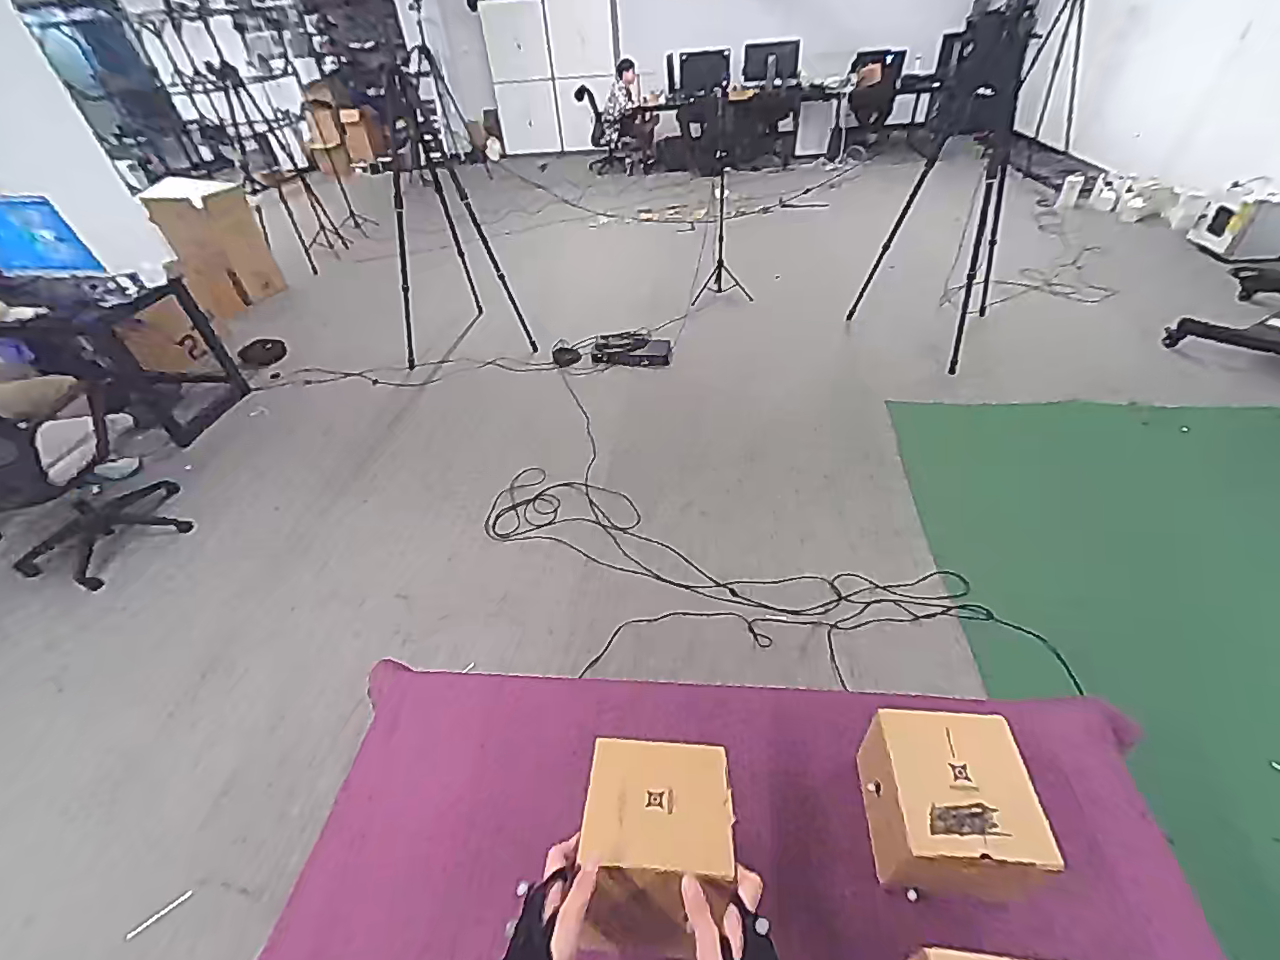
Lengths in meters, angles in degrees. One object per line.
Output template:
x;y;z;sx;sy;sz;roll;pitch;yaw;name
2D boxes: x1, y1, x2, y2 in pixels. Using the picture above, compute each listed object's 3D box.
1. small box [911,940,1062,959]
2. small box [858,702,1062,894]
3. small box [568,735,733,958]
0.373;0.588;0.532;0.179;0.176;0.168;1;41;9;small box
0.402;0.421;0.718;0.168;0.176;0.179;1;41;8;small box
0.017;0.448;0.670;0.179;0.176;0.168;2;26;5;small box
